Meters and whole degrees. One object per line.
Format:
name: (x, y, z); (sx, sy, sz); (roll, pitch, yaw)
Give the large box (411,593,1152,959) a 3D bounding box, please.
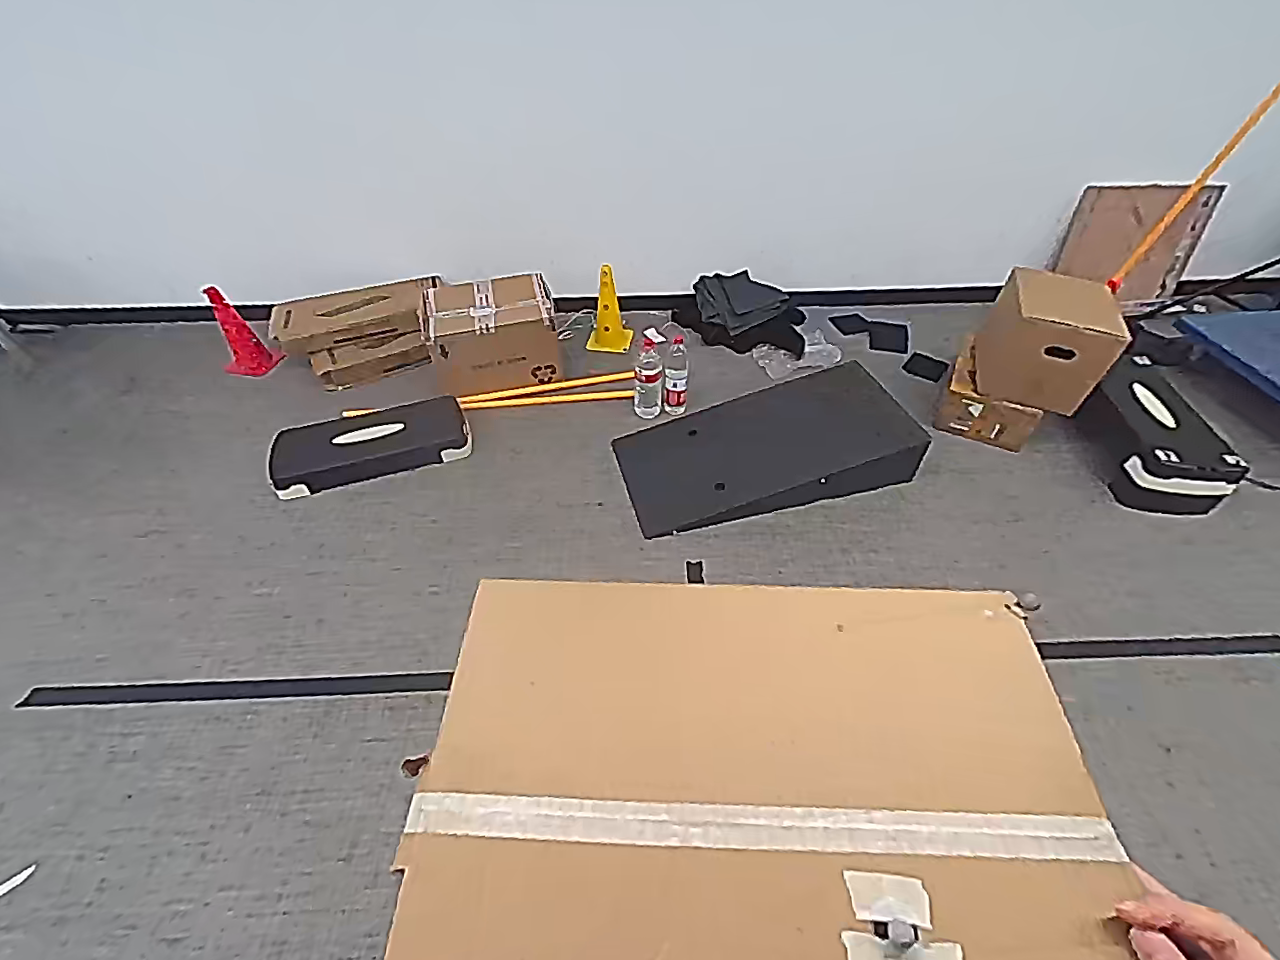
large box: (0.076, 0.303, 0.443); (0.408, 0.320, 0.320); (1, 52, 2)
